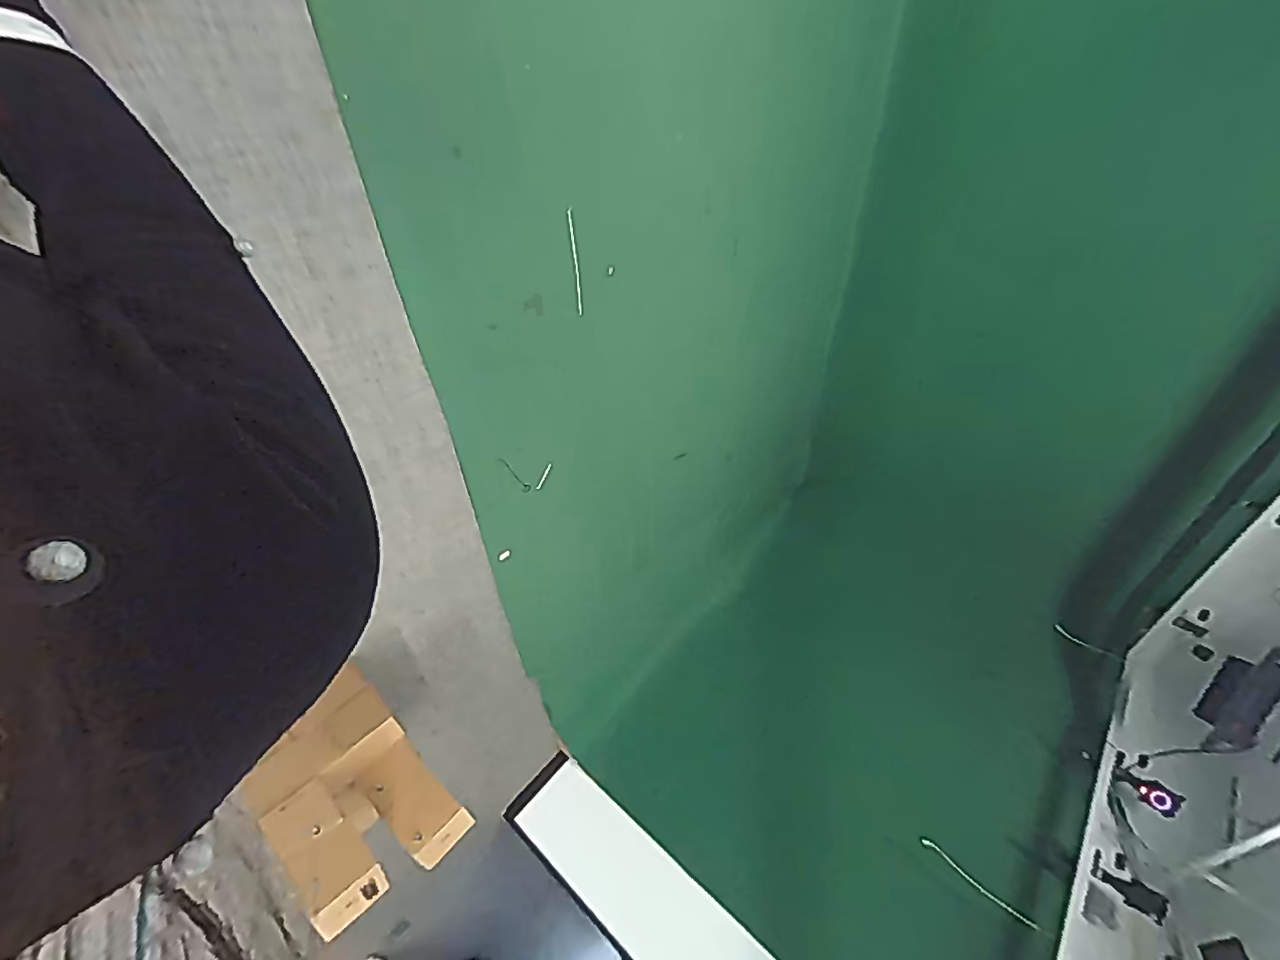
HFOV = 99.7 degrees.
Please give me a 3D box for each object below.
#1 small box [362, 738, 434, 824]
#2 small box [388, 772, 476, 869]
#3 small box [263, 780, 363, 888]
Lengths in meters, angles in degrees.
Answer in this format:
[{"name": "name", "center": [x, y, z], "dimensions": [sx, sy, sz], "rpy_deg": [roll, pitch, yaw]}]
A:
[{"name": "small box", "center": [-0.779, 0.995, 1.775], "dimensions": [0.179, 0.176, 0.168], "rpy_deg": [-40, 145, -32]}, {"name": "small box", "center": [-0.652, 1.064, 1.699], "dimensions": [0.179, 0.176, 0.168], "rpy_deg": [-39, 144, -32]}, {"name": "small box", "center": [-0.935, 1.008, 1.551], "dimensions": [0.168, 0.176, 0.179], "rpy_deg": [-34, 141, -36]}]
